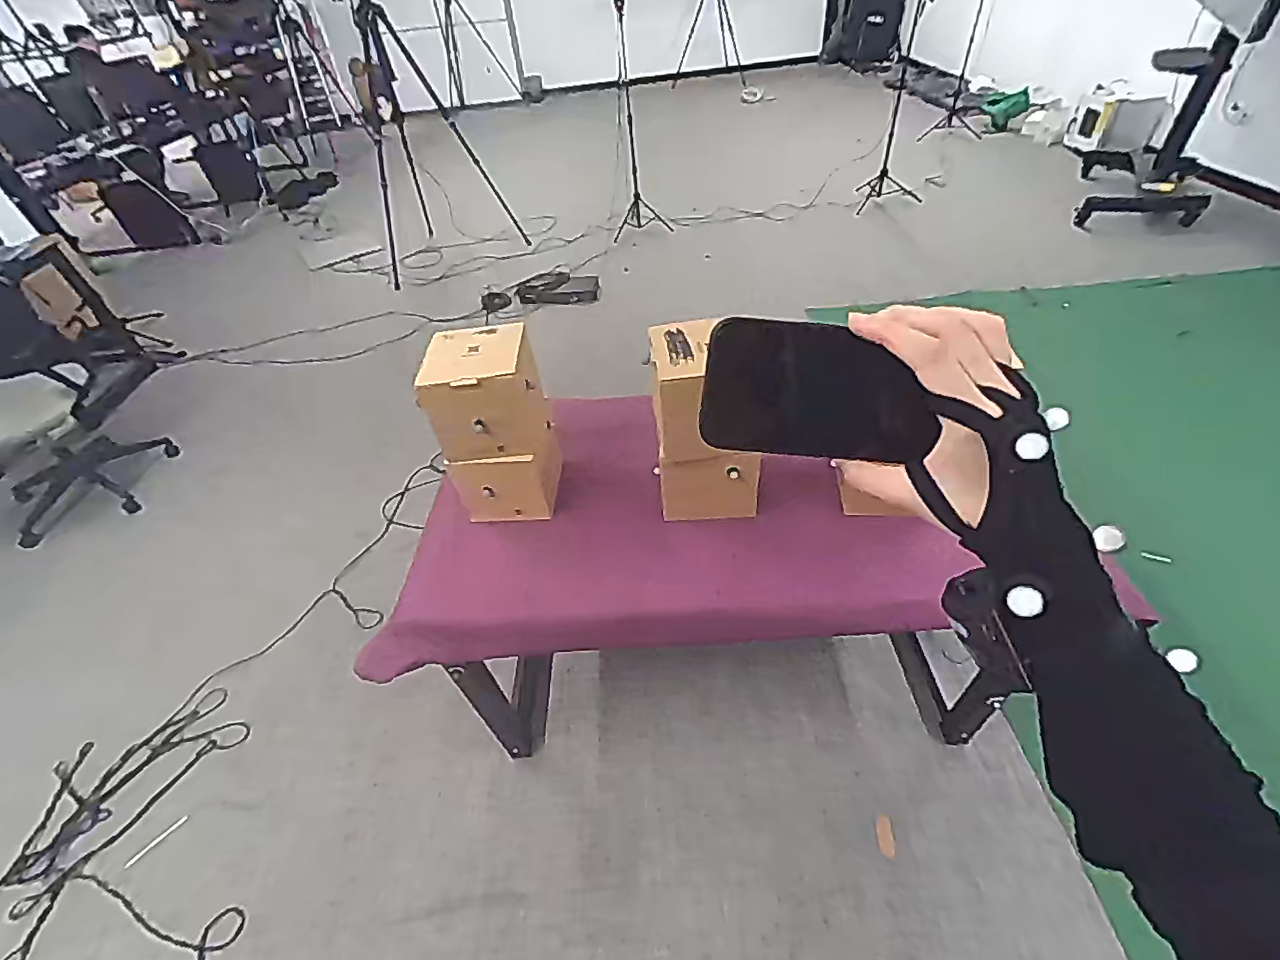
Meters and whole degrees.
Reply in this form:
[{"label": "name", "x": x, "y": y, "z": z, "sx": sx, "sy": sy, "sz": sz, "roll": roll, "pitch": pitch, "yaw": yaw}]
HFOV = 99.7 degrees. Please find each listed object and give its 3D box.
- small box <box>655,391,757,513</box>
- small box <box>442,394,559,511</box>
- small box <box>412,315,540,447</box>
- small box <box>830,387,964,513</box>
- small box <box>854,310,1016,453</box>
[{"label": "small box", "x": 0.122, "y": -0.051, "z": 1.035, "sx": 0.179, "sy": 0.176, "sz": 0.168, "roll": -2, "pitch": 45, "yaw": 5}, {"label": "small box", "x": -0.267, "y": -0.050, "z": 1.083, "sx": 0.168, "sy": 0.176, "sz": 0.179, "roll": -2, "pitch": 45, "yaw": 5}, {"label": "small box", "x": -0.281, "y": -0.171, "z": 0.972, "sx": 0.168, "sy": 0.176, "sz": 0.179, "roll": -5, "pitch": 46, "yaw": 1}, {"label": "small box", "x": 0.460, "y": -0.053, "z": 0.999, "sx": 0.179, "sy": 0.176, "sz": 0.168, "roll": 2, "pitch": 45, "yaw": 10}, {"label": "small box", "x": 0.454, "y": -0.157, "z": 0.871, "sx": 0.179, "sy": 0.176, "sz": 0.168, "roll": 2, "pitch": 46, "yaw": 8}]
